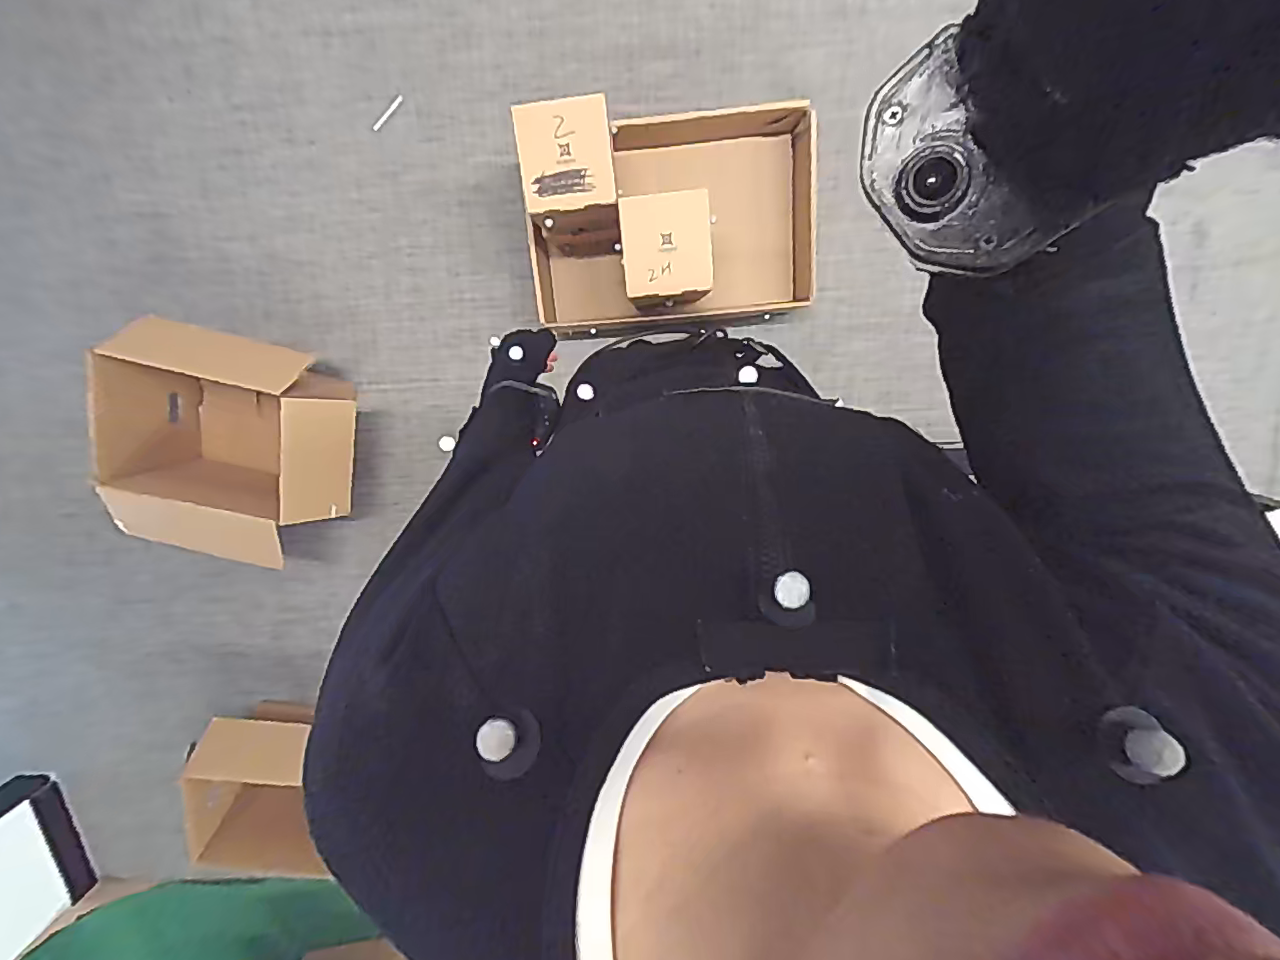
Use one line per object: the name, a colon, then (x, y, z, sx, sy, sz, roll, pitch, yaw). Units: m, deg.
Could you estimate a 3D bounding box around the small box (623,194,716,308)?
small box: (0.056, -0.442, 1.066, 0.168, 0.176, 0.179, -4, 105, 3)
